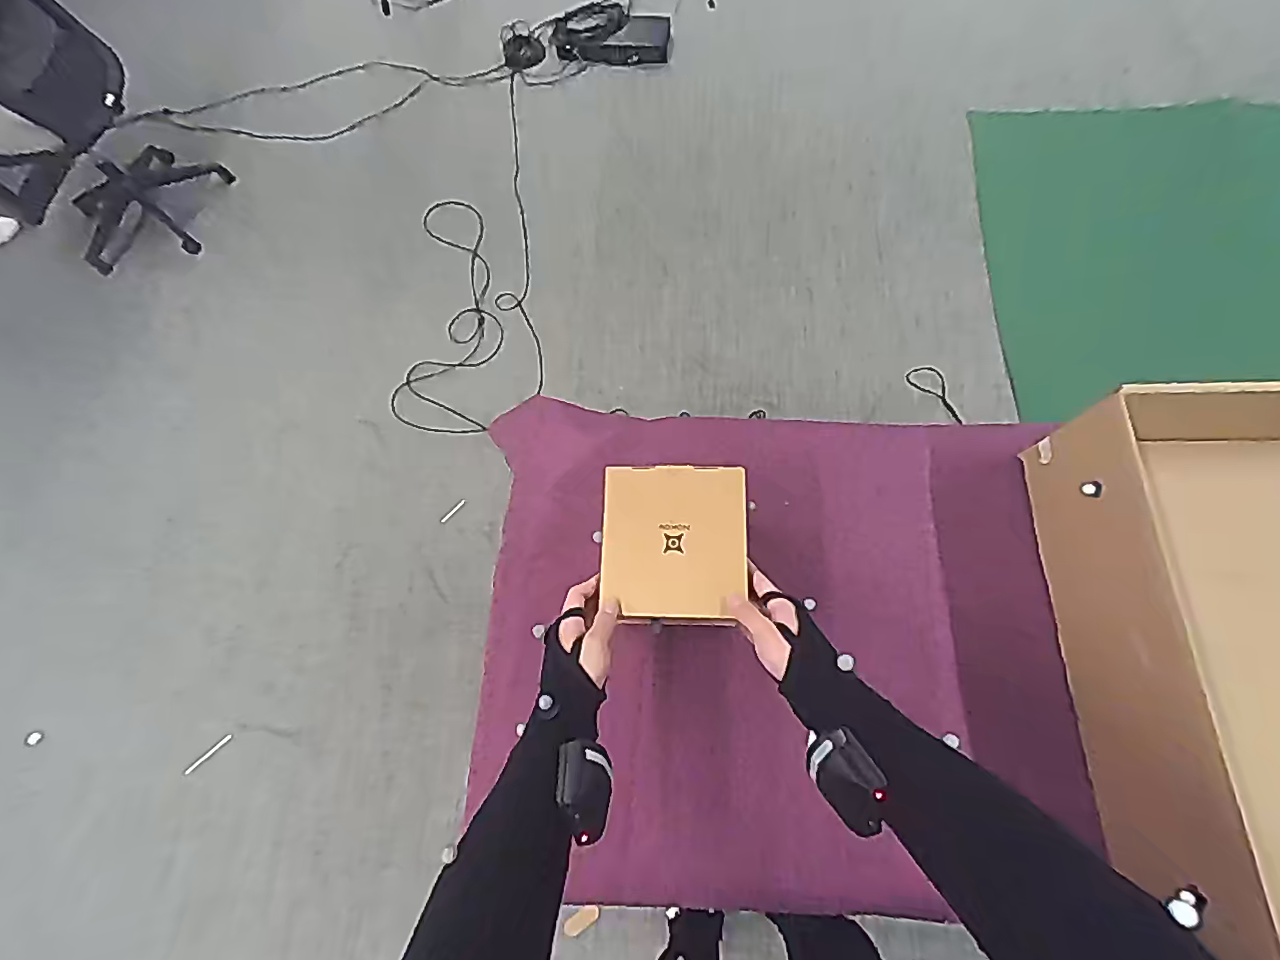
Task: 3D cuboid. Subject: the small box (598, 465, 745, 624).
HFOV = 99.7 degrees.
[{"bbox_3d":[0.044,0.089,0.690,0.168,0.176,0.179,0,71,5],"label":"small box"}]
